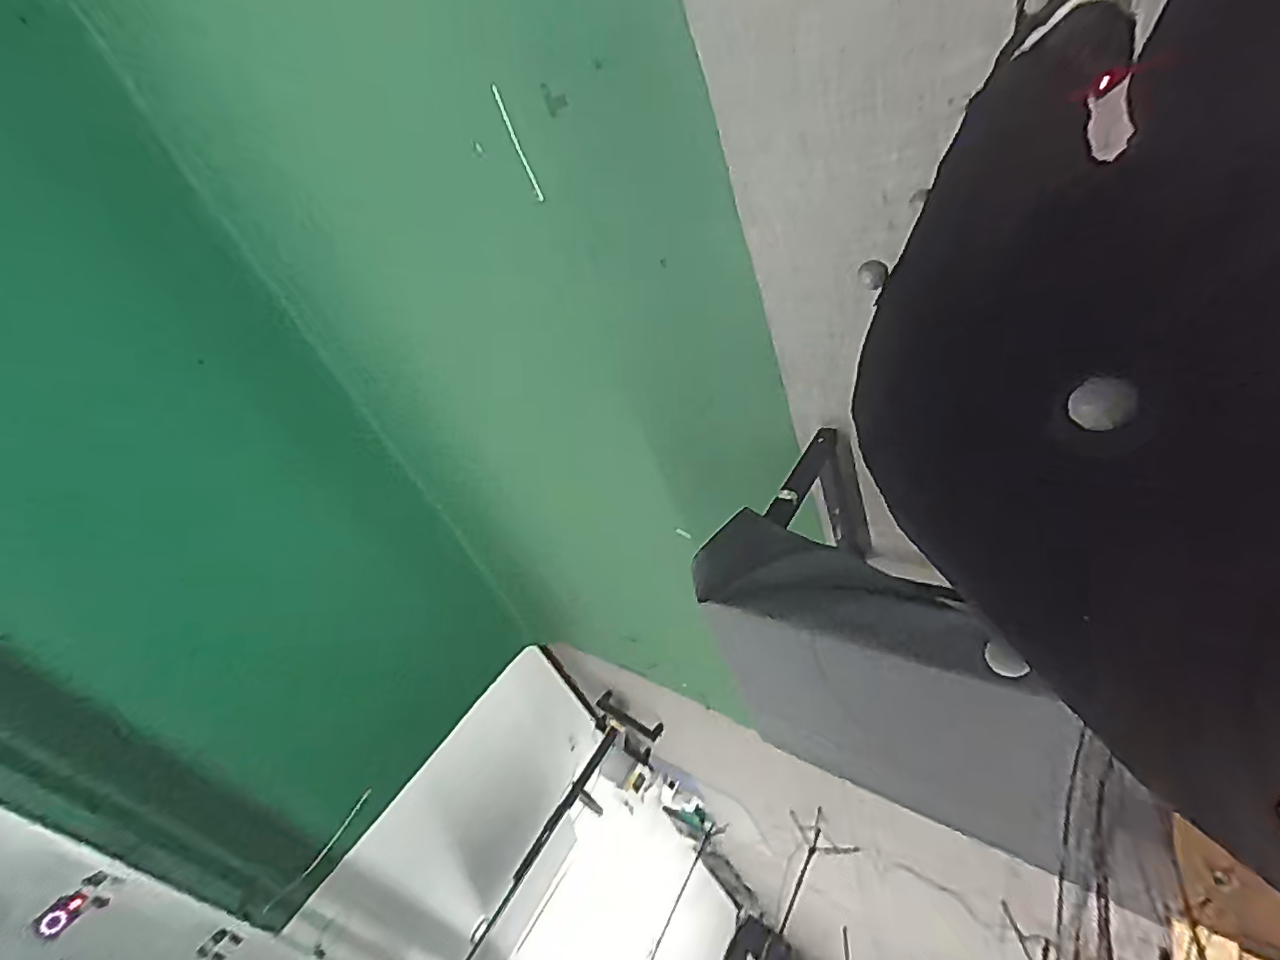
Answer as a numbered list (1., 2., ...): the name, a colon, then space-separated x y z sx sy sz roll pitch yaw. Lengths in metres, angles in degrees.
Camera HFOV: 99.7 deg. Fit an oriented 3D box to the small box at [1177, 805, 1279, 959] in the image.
1. small box: 0.857 0.592 0.744 0.168 0.176 0.179 1 131 47
